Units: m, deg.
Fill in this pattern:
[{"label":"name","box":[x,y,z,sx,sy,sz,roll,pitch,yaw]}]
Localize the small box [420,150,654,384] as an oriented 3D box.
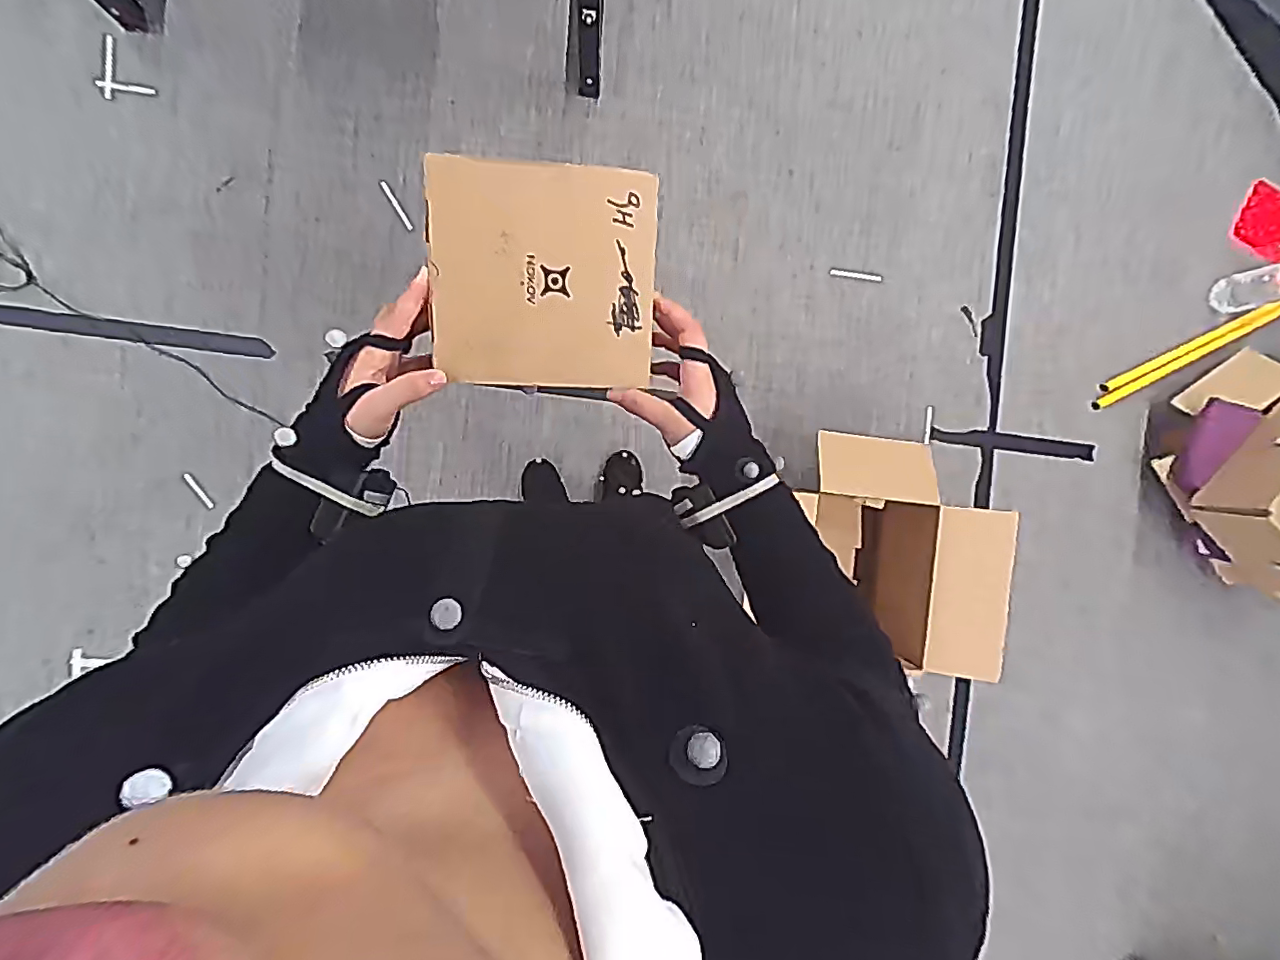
[{"label":"small box","box":[-0.087,-0.179,0.498,0.179,0.176,0.168,0,104,-7]}]
